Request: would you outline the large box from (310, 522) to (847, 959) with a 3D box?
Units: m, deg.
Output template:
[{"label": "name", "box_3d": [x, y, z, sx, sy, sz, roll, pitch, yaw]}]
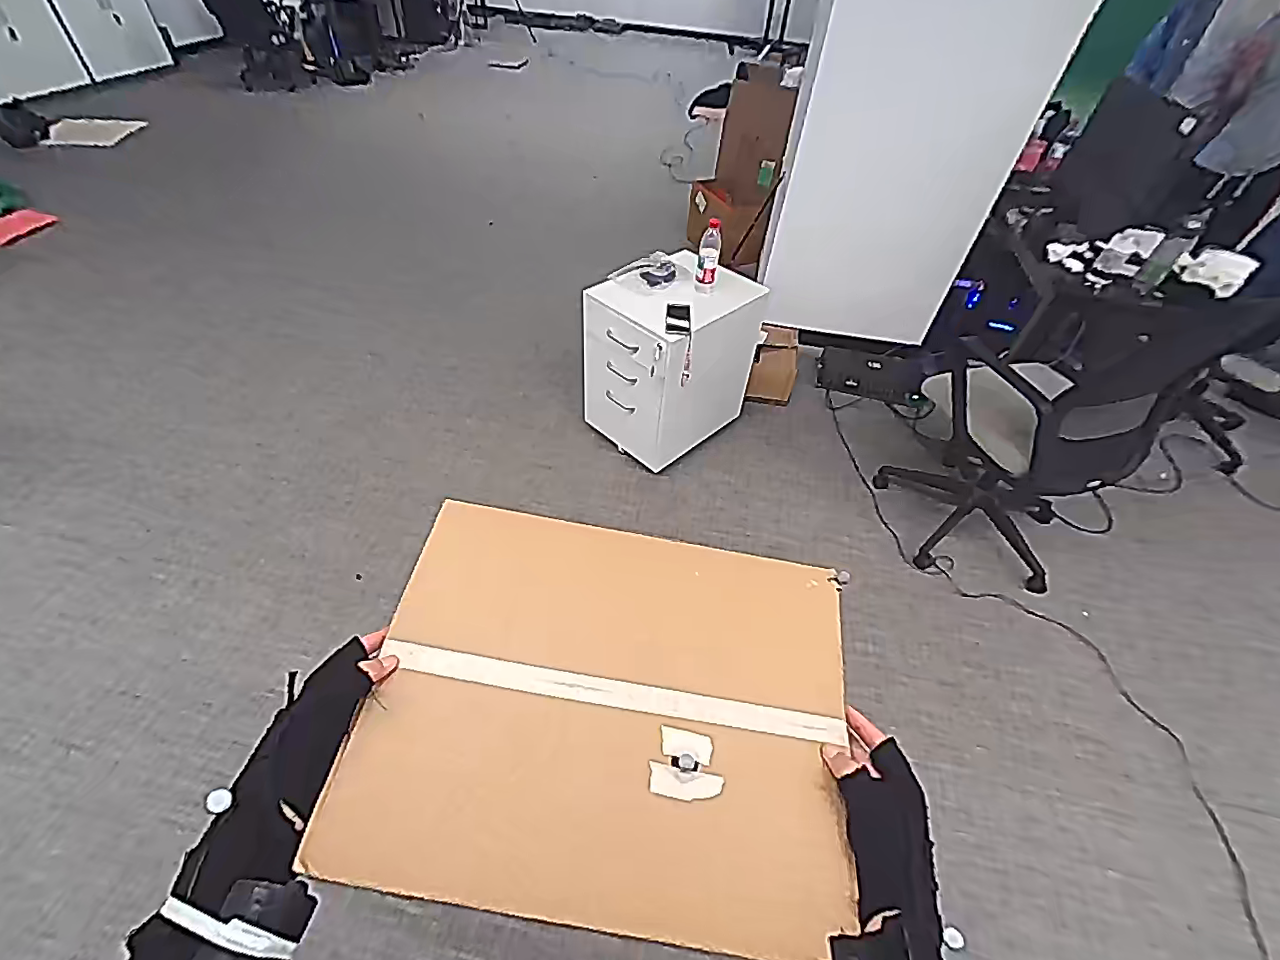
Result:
[{"label": "large box", "box_3d": [-0.042, 0.281, 0.595, 0.408, 0.320, 0.320, 10, 56, -1]}]
